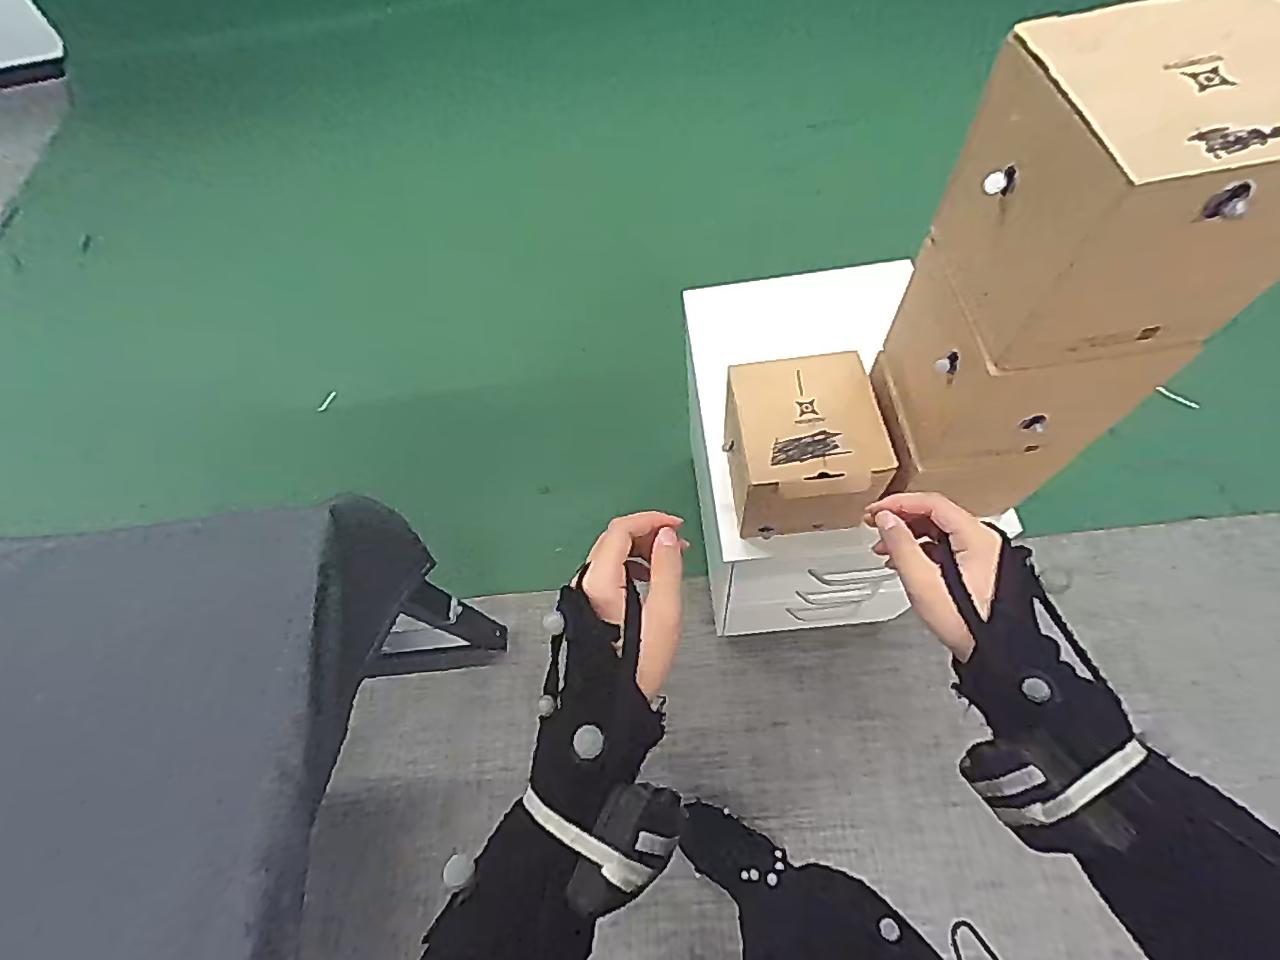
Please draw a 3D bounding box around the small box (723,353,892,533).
[{"bbox_3d":[0.202,-0.037,0.709,0.168,0.176,0.179,-5,62,3],"label":"small box"}]

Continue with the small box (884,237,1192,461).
[{"bbox_3d":[0.372,-0.130,0.550,0.168,0.176,0.179,-5,63,4],"label":"small box"}]

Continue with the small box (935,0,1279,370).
[{"bbox_3d":[0.356,-0.210,0.408,0.168,0.176,0.179,-8,62,4],"label":"small box"}]
